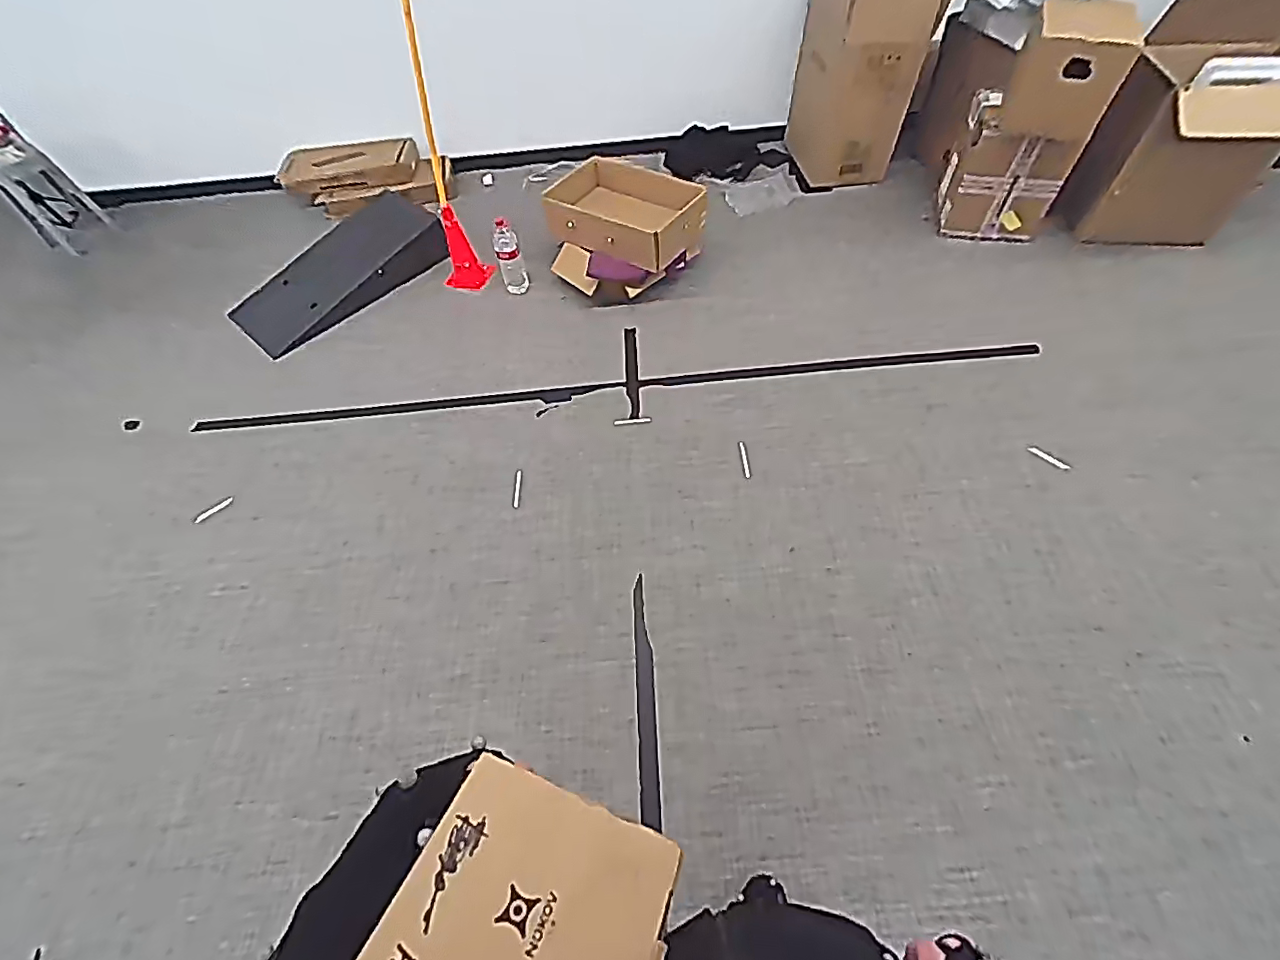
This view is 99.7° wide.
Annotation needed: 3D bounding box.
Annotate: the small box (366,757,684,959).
[{"bbox_3d":[-0.087,0.359,0.416,0.179,0.176,0.168,21,38,9],"label":"small box"}]
